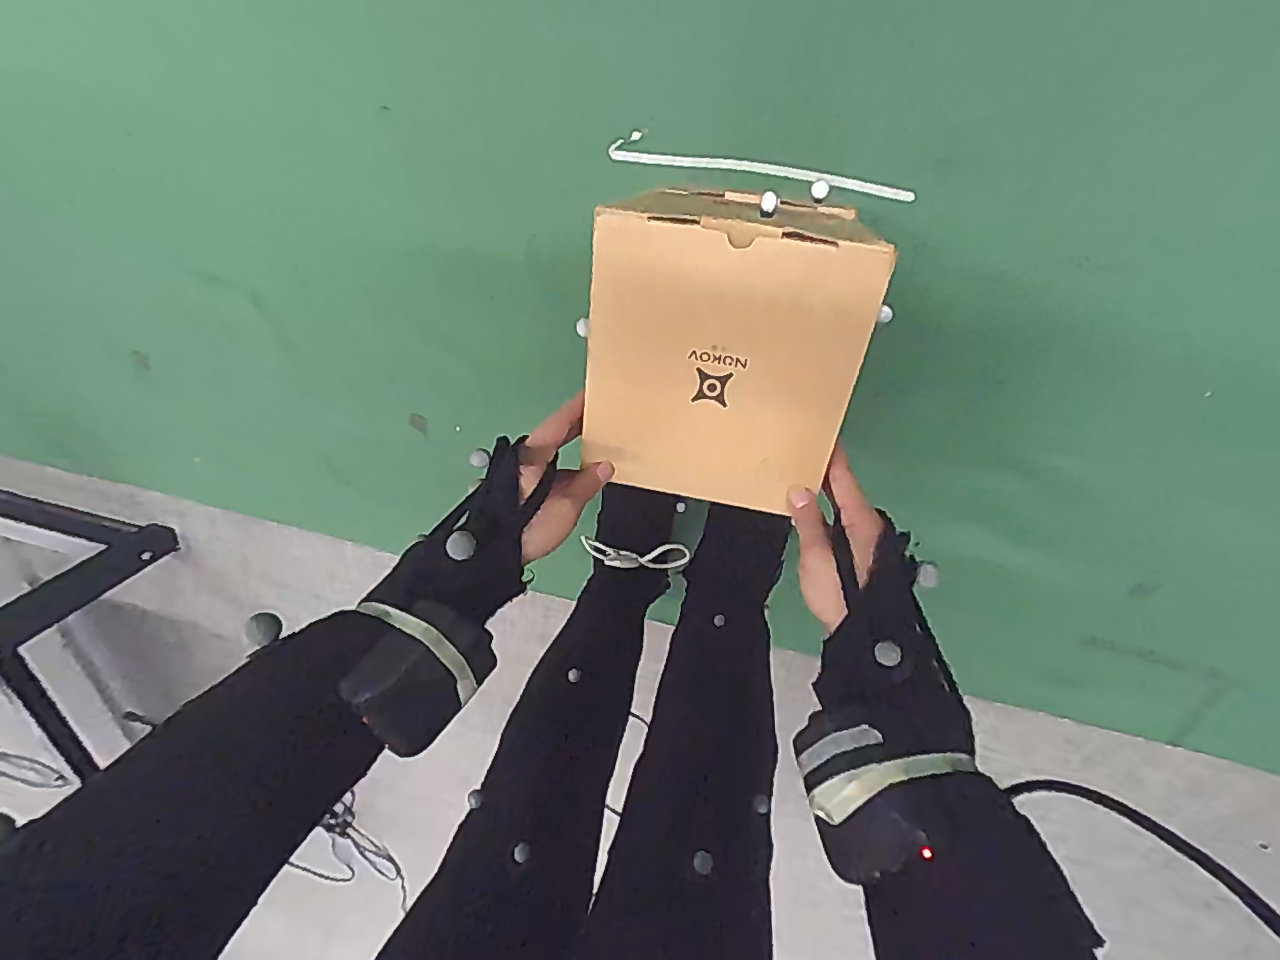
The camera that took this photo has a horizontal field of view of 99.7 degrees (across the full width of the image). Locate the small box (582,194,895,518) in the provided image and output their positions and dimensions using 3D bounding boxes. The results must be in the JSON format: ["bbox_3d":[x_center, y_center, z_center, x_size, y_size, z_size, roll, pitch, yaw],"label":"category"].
[{"bbox_3d":[0.063,-0.102,0.401,0.168,0.176,0.179,11,121,6],"label":"small box"}]
